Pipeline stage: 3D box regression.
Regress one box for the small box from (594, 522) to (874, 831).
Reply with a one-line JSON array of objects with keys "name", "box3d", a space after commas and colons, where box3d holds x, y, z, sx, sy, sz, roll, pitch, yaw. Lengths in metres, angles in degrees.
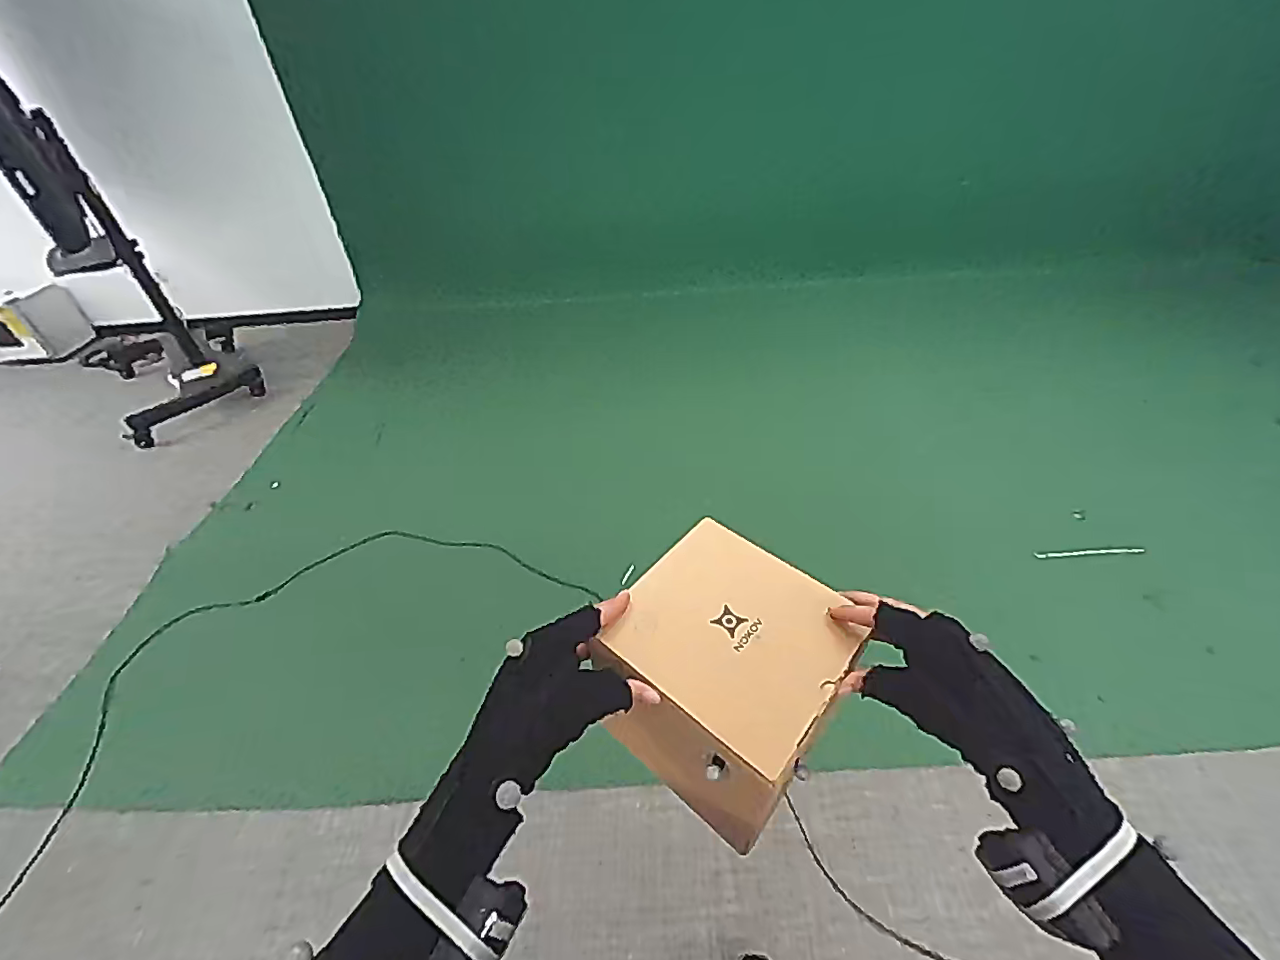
[{"name": "small box", "box3d": [0.077, 0.177, 0.498, 0.179, 0.176, 0.168, 31, 51, 29]}]
